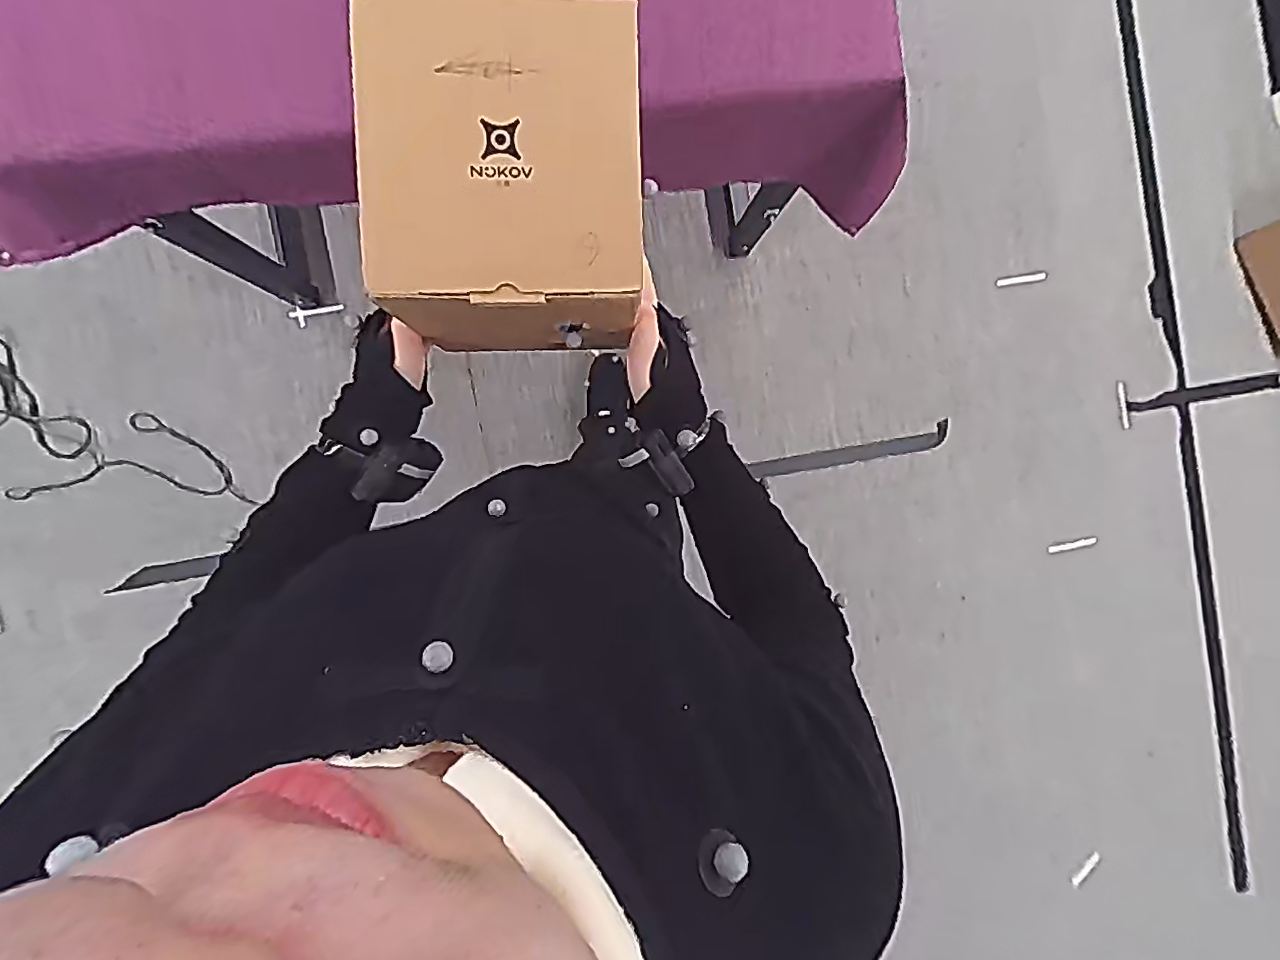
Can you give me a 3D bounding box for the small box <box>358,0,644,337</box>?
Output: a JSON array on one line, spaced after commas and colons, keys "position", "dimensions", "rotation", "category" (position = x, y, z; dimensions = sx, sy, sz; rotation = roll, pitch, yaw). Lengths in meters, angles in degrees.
[{"position": [-0.084, -0.206, 0.397], "dimensions": [0.168, 0.176, 0.179], "rotation": [-2, 93, -5], "category": "small box"}]
